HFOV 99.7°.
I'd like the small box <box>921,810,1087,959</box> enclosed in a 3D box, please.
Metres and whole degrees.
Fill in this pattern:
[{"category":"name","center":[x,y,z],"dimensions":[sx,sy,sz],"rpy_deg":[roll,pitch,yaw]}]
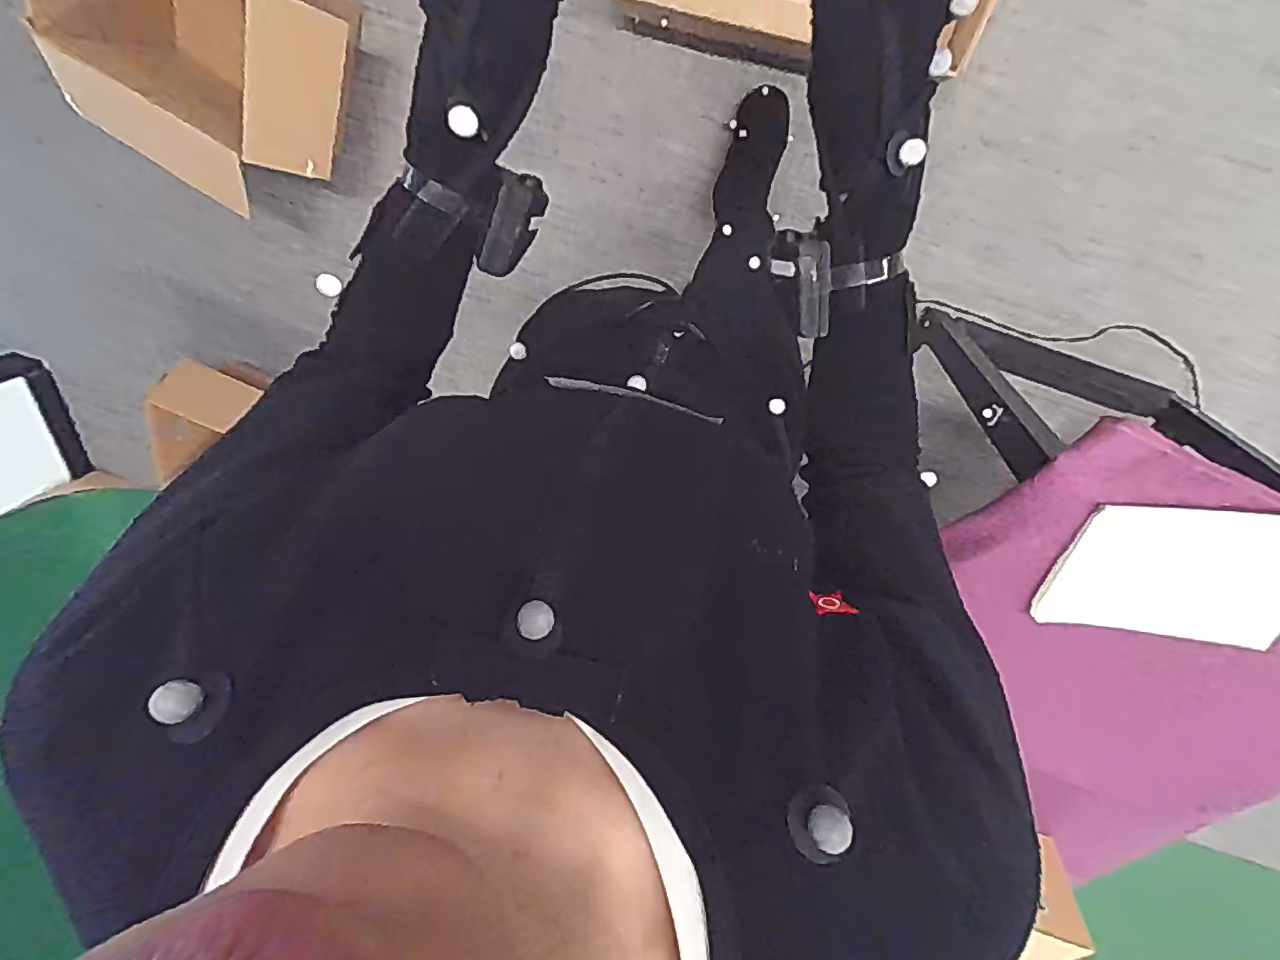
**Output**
[{"category":"small box","center":[0.613,0.720,0.953],"dimensions":[0.179,0.176,0.168],"rpy_deg":[21,125,1]}]
